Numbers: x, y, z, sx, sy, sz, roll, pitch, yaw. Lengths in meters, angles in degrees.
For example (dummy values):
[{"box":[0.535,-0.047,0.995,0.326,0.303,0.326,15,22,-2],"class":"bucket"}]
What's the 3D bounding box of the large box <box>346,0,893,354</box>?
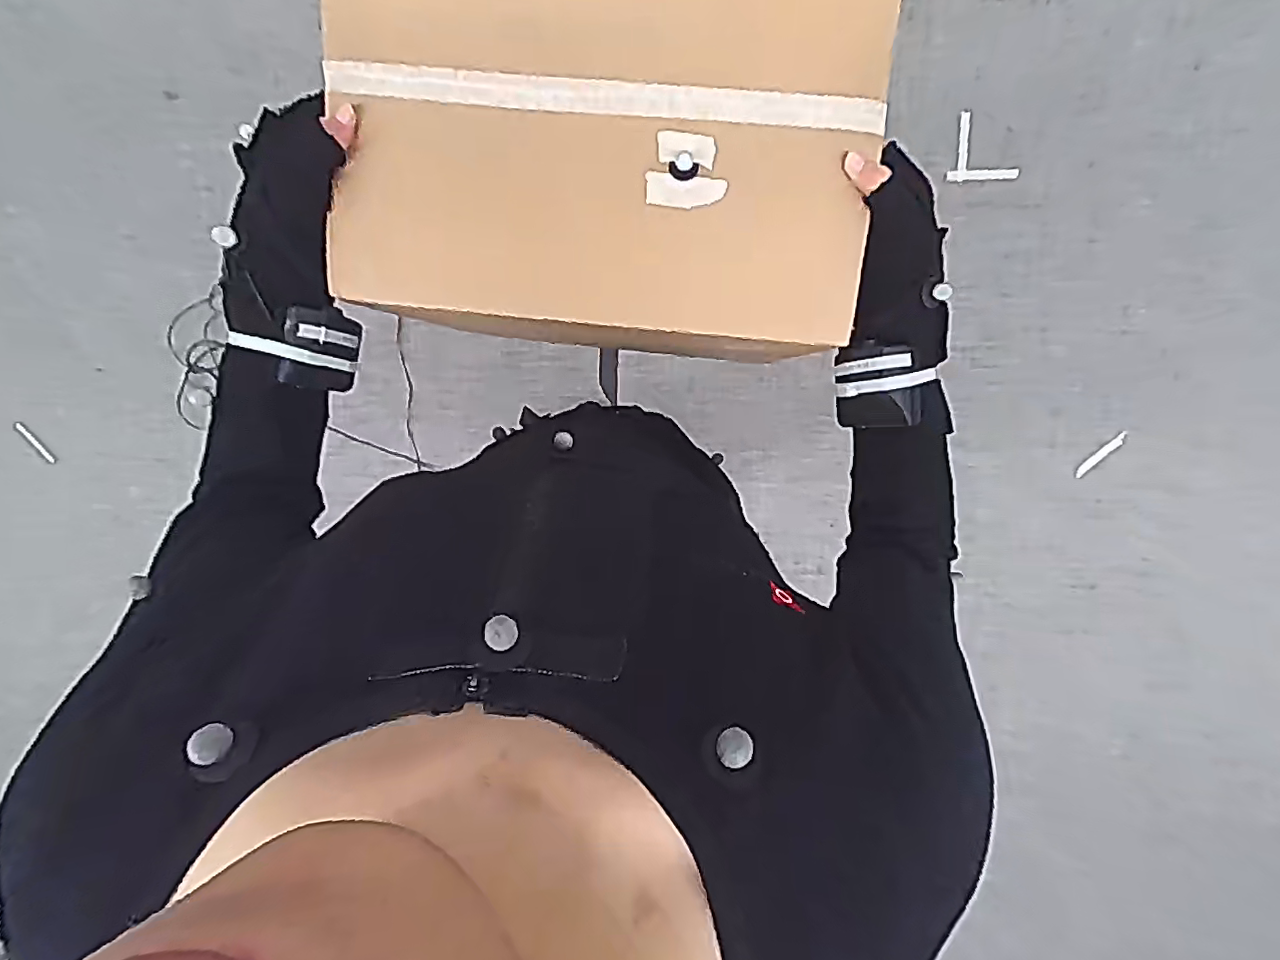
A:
[{"box":[-0.018,-0.309,0.549,0.408,0.320,0.320,6,100,2],"class":"large box"}]
